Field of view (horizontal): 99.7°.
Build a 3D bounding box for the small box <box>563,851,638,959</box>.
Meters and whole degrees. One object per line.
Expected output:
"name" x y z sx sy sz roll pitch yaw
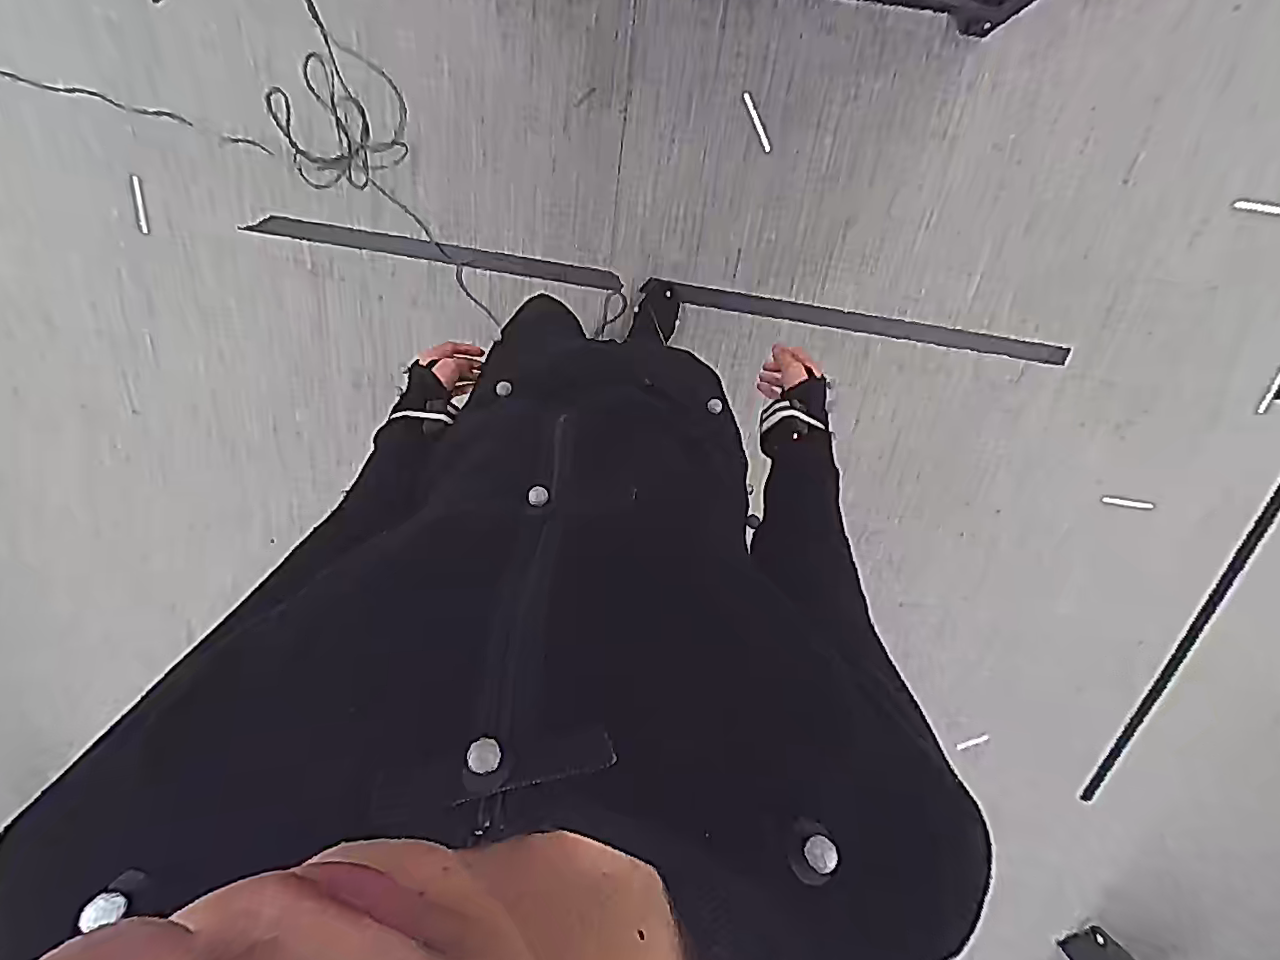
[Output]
"small box" -0.103 1.110 1.410 0.179 0.176 0.168 9 112 0
